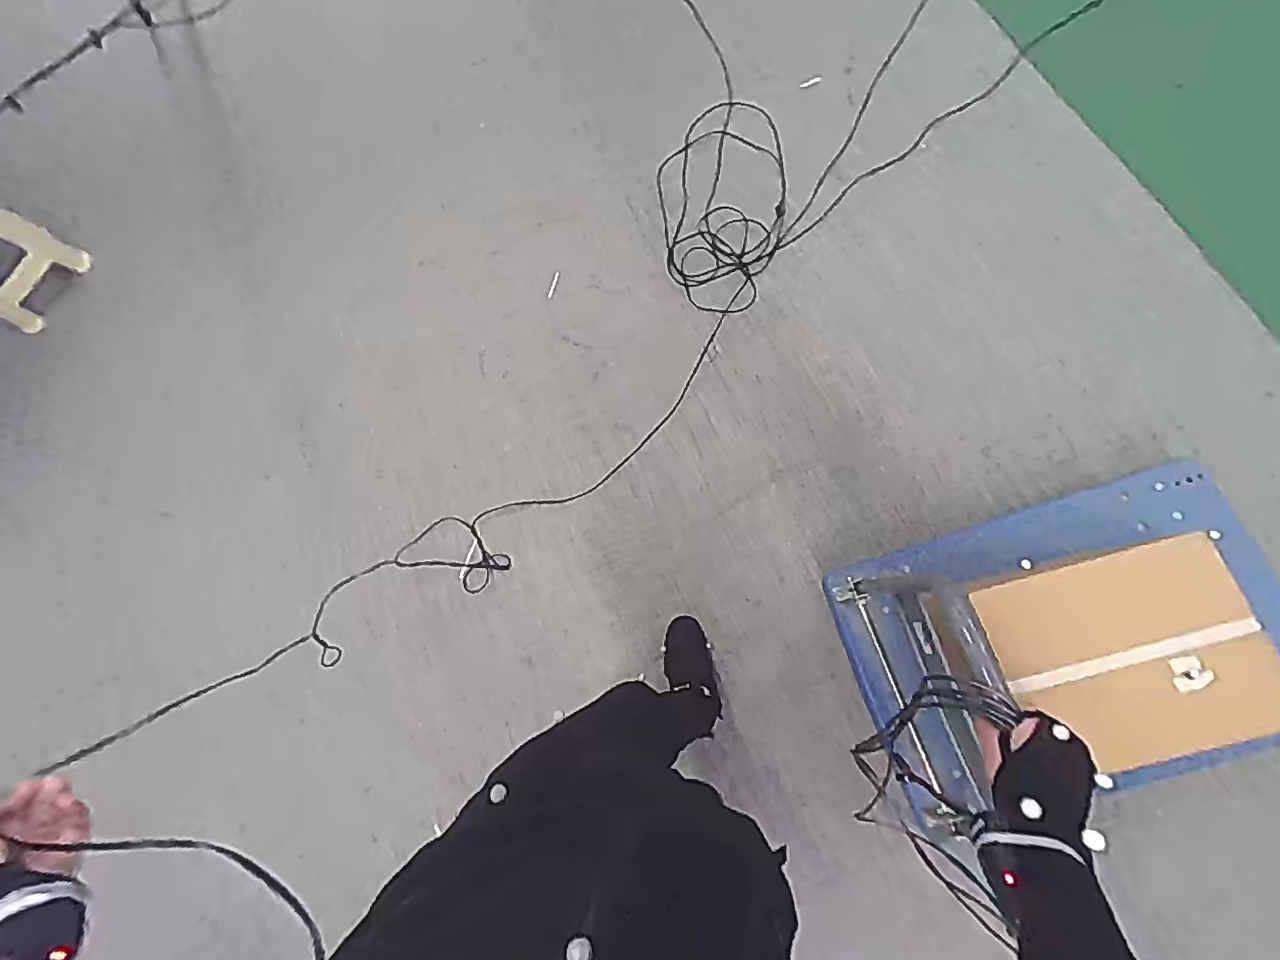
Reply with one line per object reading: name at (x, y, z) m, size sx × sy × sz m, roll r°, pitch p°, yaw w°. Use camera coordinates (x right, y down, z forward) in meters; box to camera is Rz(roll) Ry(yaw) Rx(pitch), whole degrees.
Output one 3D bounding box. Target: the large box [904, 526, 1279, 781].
large box at (0.794, 0.310, 1.016) m, size 0.408 × 0.320 × 0.320 m, roll -16°, pitch 76°, yaw 3°
